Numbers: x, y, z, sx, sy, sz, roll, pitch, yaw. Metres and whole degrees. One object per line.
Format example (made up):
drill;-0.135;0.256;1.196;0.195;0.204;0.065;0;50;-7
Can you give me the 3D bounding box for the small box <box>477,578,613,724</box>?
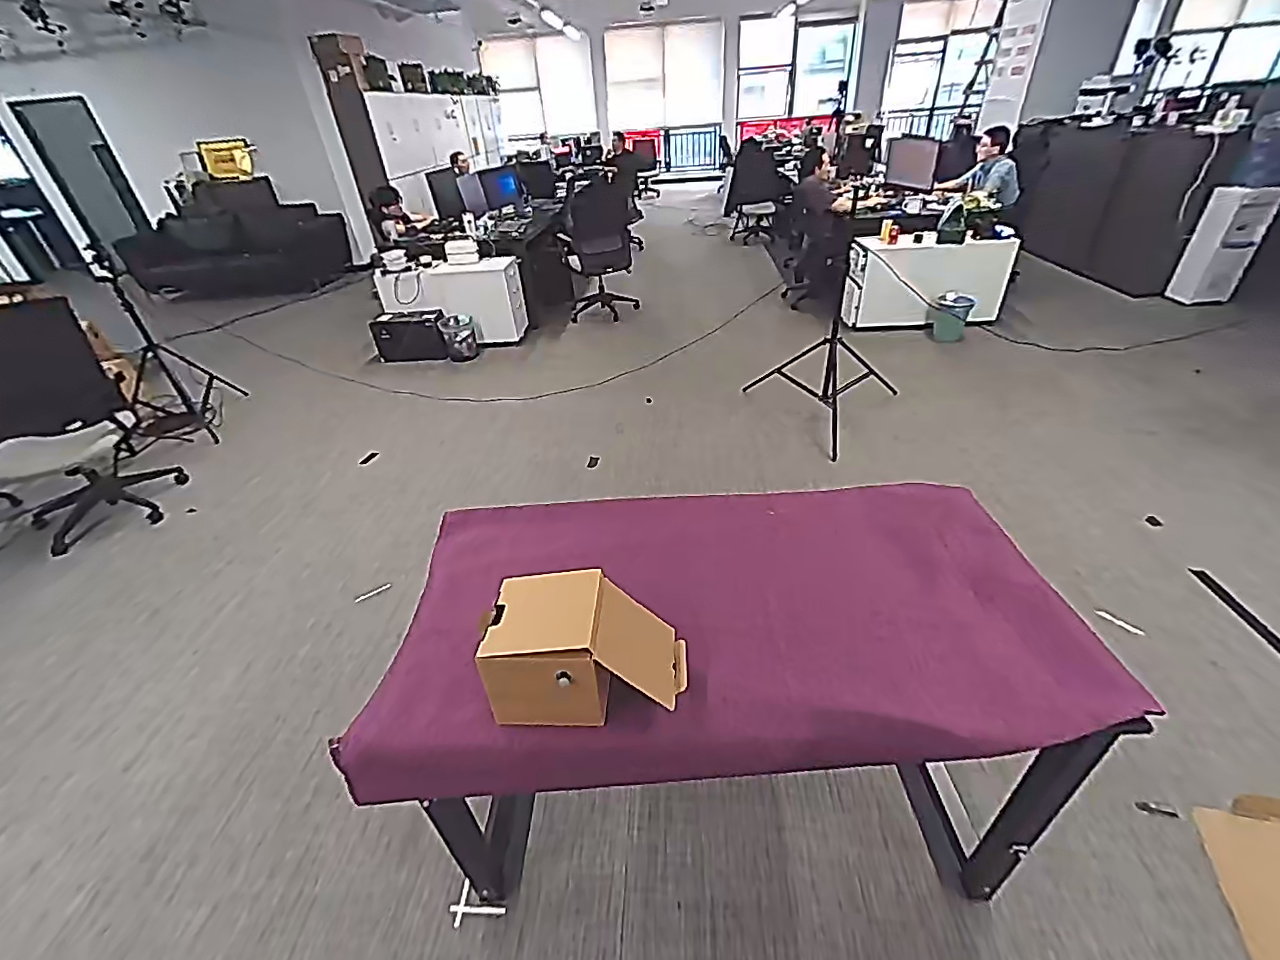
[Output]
small box;-0.142;0.280;0.889;0.179;0.176;0.168;-2;33;5
